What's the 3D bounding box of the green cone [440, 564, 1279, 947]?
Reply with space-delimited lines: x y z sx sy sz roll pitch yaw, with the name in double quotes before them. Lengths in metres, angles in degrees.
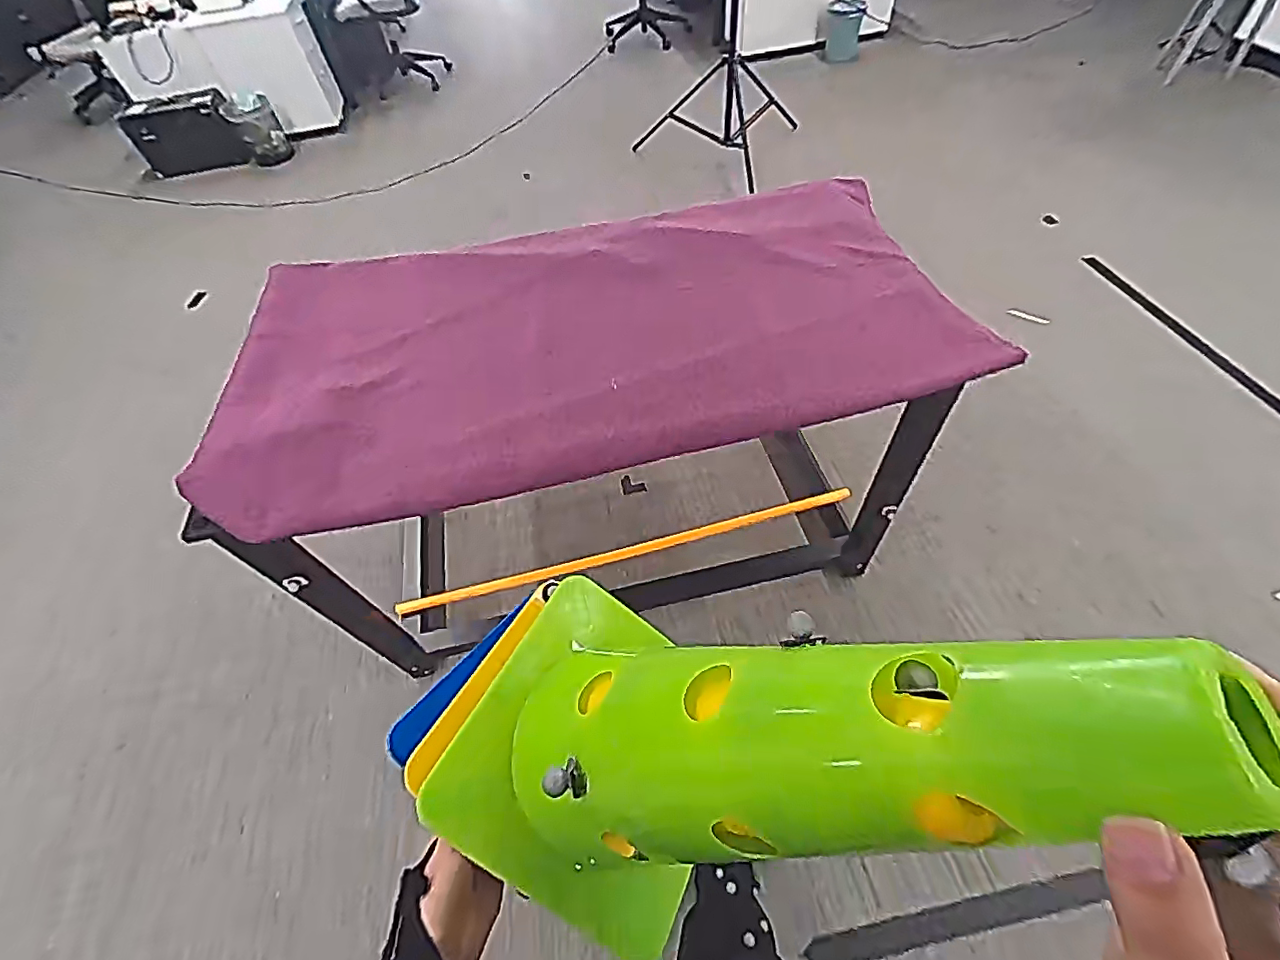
"green cone" 0.065 0.118 0.262 0.200 0.368 0.202 39 53 -7
